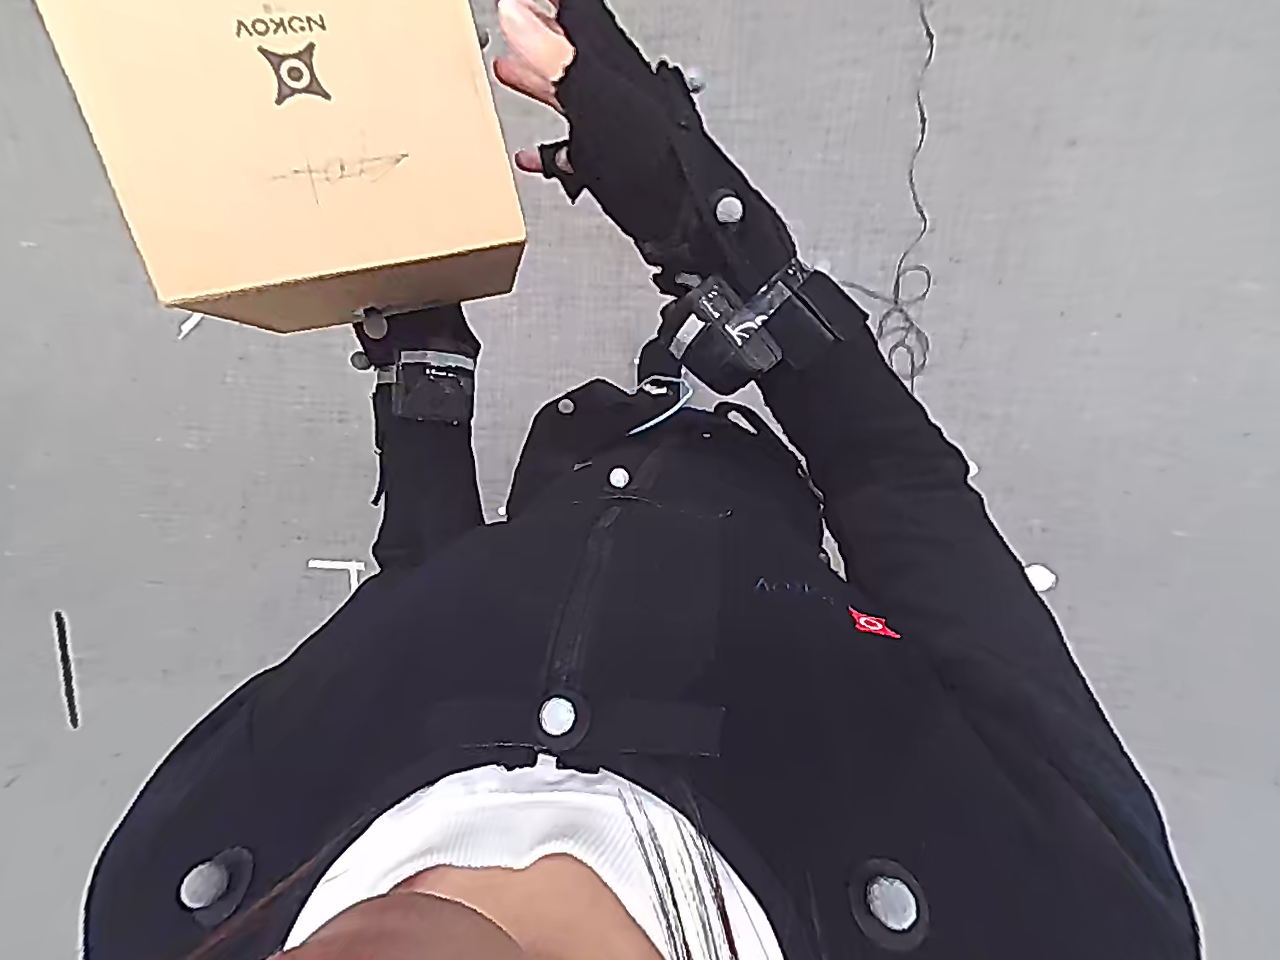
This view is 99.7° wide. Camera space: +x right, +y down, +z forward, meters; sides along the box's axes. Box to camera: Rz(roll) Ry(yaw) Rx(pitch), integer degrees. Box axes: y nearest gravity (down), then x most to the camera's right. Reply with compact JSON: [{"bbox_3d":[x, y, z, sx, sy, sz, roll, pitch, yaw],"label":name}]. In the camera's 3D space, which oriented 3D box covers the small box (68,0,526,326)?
[{"bbox_3d":[-0.176,-0.203,0.325,0.168,0.176,0.179,-16,104,-12],"label":"small box"}]
